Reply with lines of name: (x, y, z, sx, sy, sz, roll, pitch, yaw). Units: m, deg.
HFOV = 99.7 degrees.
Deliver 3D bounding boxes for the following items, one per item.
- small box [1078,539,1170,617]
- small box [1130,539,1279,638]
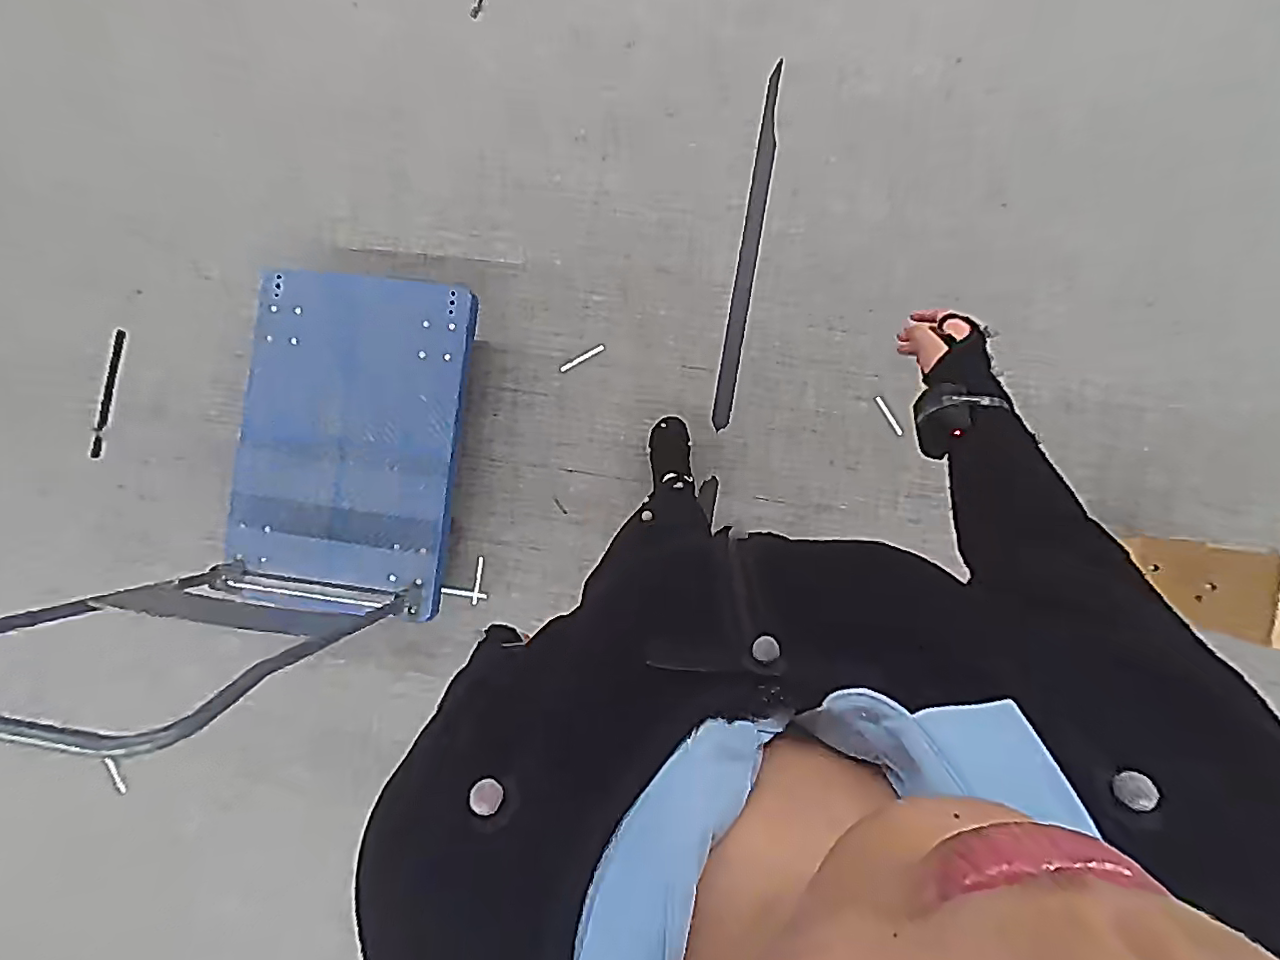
small box: (1.230, 0.236, 1.326, 0.179, 0.176, 0.168, -3, 87, 4)
small box: (1.224, 0.224, 1.164, 0.179, 0.176, 0.168, 9, 89, 5)
